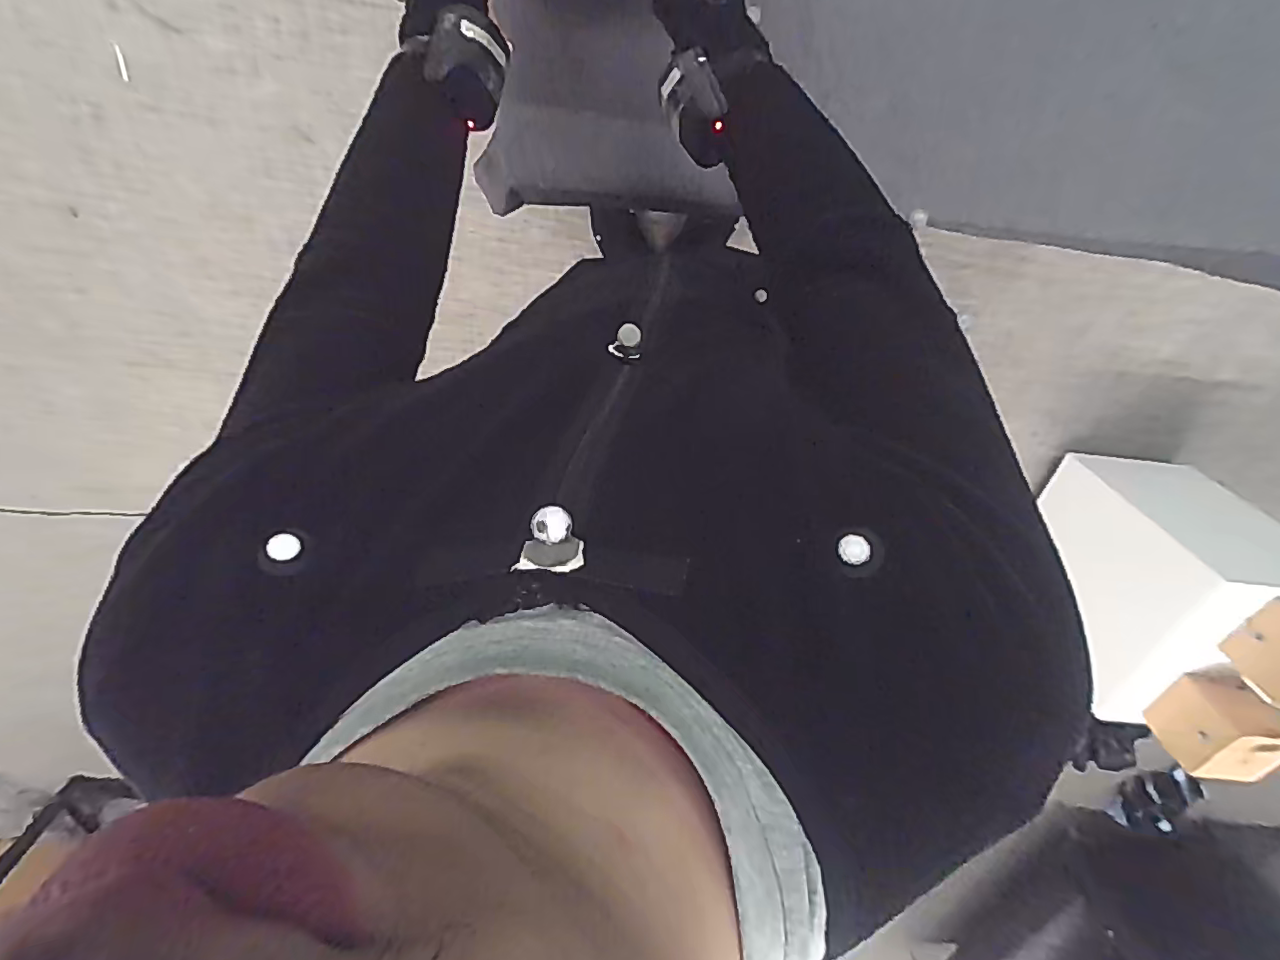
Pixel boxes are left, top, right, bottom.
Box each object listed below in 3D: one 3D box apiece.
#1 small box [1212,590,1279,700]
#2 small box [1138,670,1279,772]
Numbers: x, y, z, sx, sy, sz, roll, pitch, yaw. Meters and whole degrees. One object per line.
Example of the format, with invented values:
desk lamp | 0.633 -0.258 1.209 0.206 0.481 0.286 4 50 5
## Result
small box | 1.454 0.371 1.200 0.168 0.176 0.179 8 123 -7
small box | 1.410 0.593 1.339 0.168 0.176 0.179 5 122 -5
